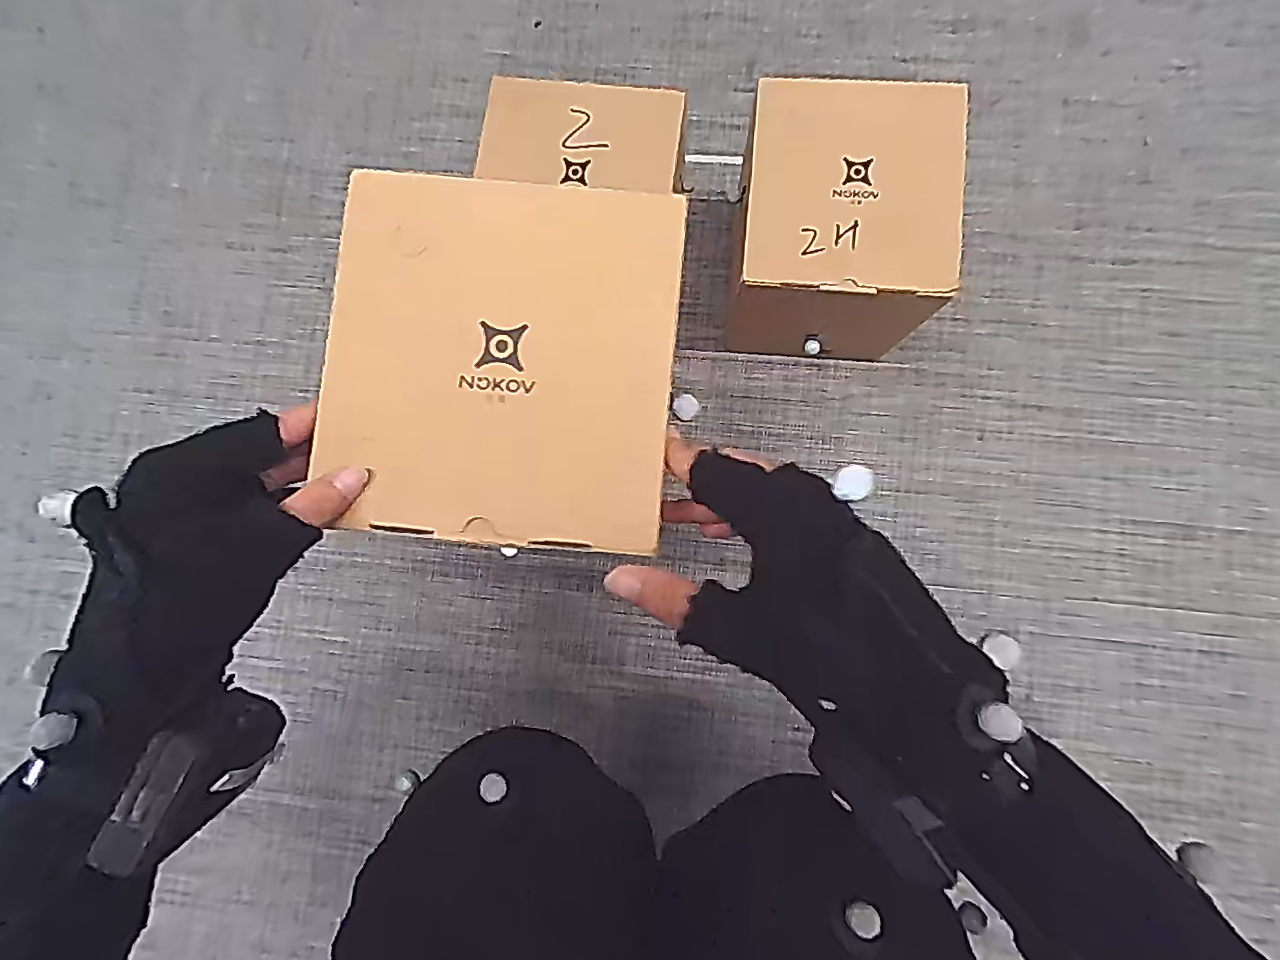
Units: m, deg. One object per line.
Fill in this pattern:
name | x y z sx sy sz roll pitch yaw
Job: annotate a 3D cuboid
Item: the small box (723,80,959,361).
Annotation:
small box | 0.171 -0.227 0.509 0.168 0.176 0.179 5 86 5
